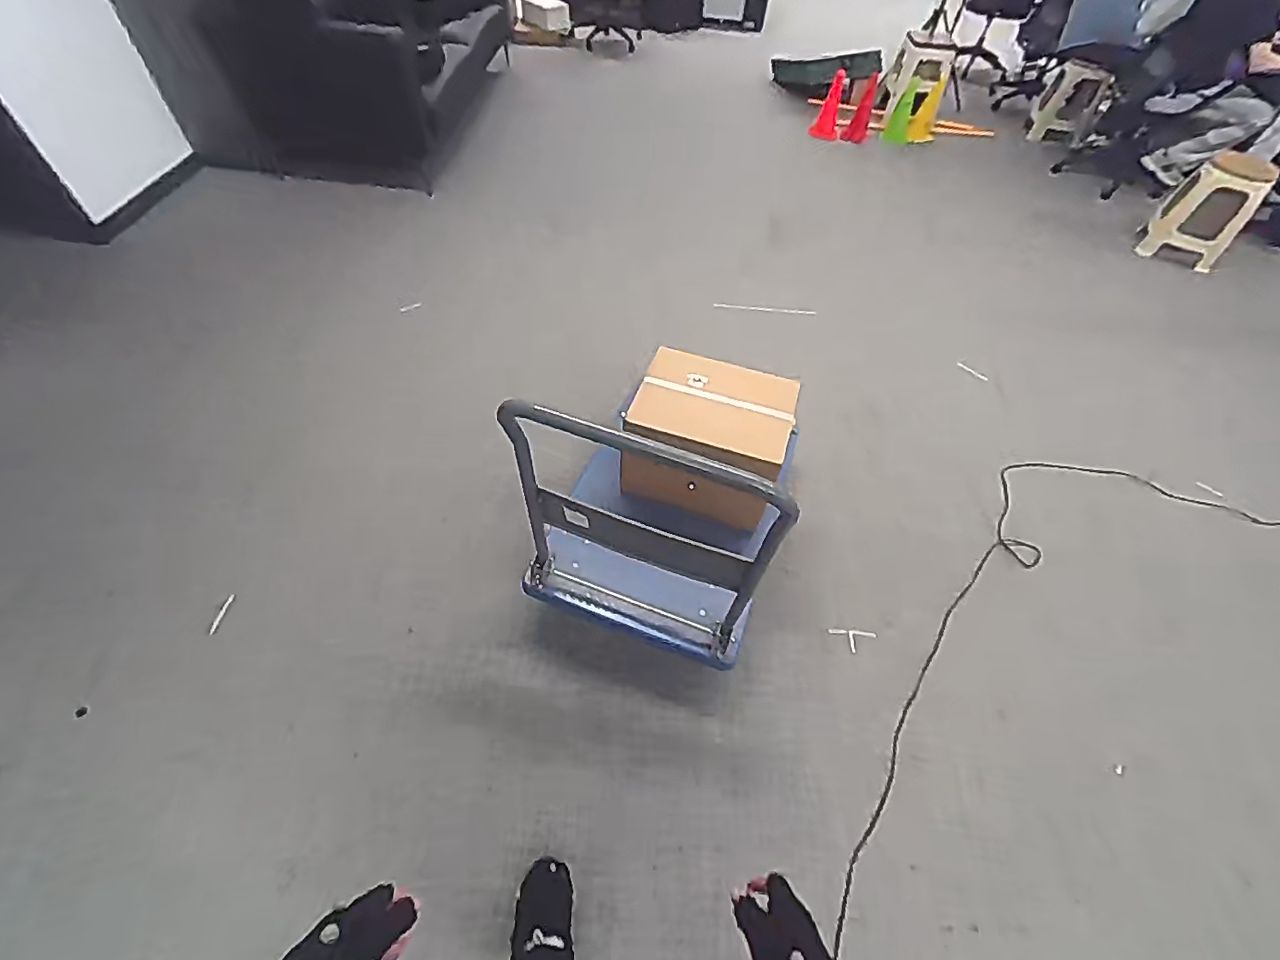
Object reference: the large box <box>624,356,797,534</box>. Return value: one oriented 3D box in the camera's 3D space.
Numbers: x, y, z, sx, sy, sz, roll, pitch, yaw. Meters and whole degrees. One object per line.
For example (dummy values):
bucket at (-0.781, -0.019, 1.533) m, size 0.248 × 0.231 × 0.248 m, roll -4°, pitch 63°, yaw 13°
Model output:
large box at (0.192, -0.097, 1.529) m, size 0.408 × 0.320 × 0.320 m, roll 16°, pitch 52°, yaw 9°
